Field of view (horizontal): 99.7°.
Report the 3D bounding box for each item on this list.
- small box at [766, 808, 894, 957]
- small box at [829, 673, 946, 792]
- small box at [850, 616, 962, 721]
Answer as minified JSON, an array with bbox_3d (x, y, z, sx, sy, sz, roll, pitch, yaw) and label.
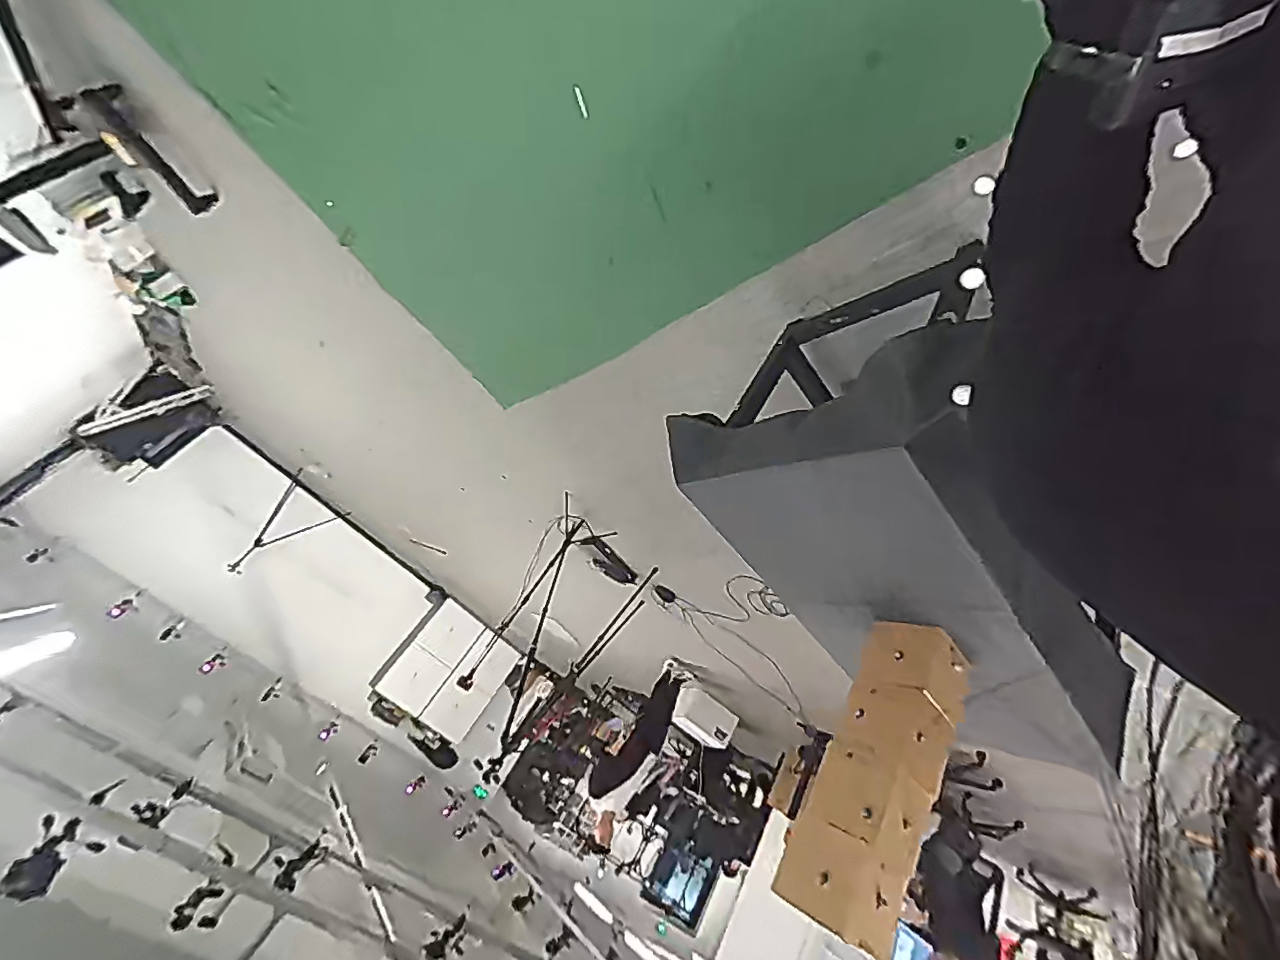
[{"bbox_3d":[0.399,0.814,1.113,0.168,0.176,0.179,46,150,-21],"label":"small box"},{"bbox_3d":[0.574,0.573,1.250,0.179,0.176,0.168,46,150,-21],"label":"small box"},{"bbox_3d":[0.654,0.452,1.324,0.168,0.176,0.179,47,148,-23],"label":"small box"}]
